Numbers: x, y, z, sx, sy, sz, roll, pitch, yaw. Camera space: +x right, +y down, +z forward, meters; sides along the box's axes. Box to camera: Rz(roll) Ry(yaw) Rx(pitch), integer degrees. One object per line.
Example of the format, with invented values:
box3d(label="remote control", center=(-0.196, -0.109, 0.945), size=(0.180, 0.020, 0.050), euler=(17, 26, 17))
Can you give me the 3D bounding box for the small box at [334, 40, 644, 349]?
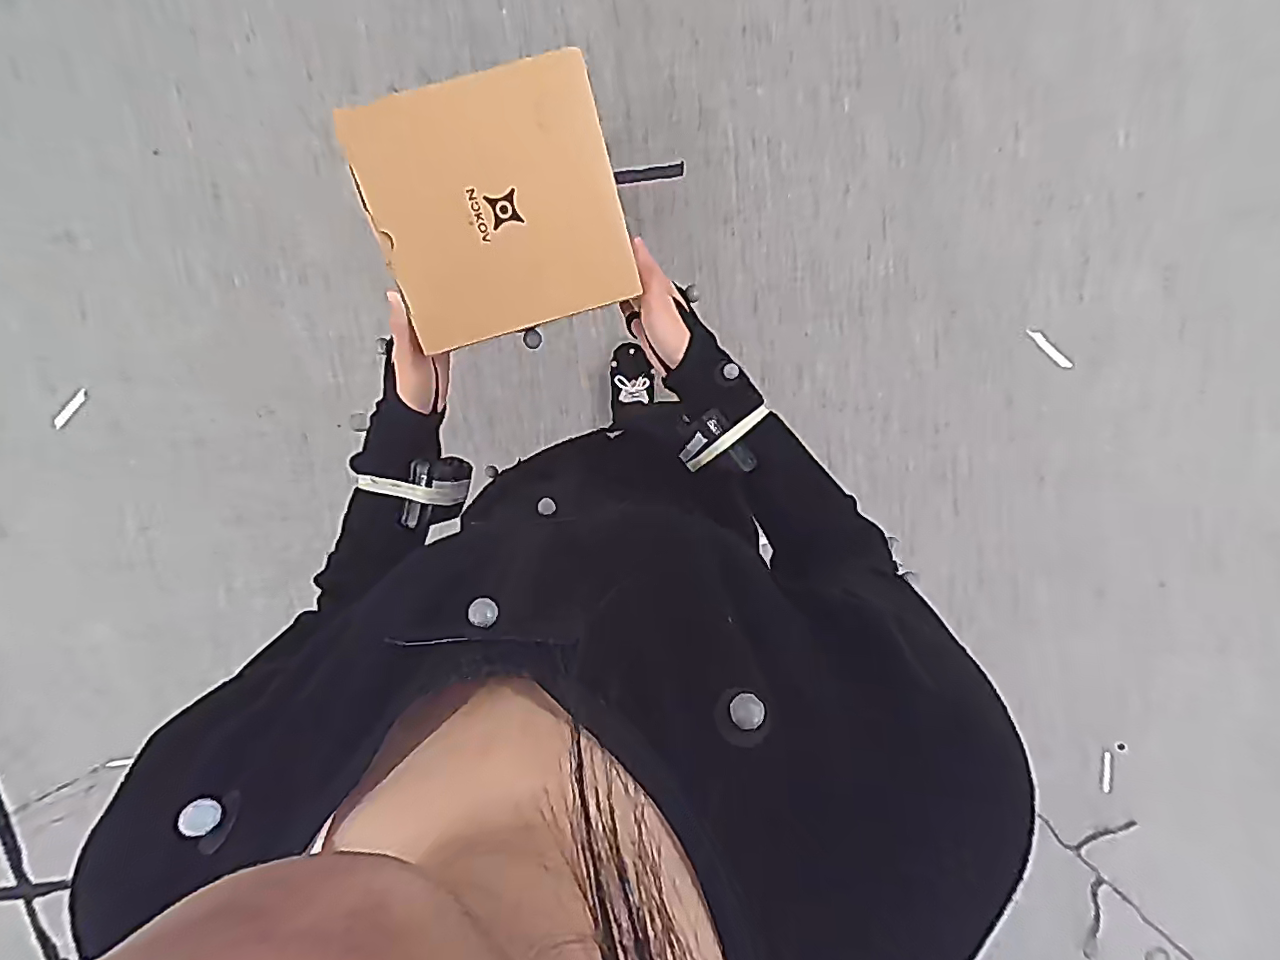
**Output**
box3d(label="small box", center=(-0.110, -0.222, 0.458), size=(0.179, 0.176, 0.168), euler=(-17, 110, -1))
